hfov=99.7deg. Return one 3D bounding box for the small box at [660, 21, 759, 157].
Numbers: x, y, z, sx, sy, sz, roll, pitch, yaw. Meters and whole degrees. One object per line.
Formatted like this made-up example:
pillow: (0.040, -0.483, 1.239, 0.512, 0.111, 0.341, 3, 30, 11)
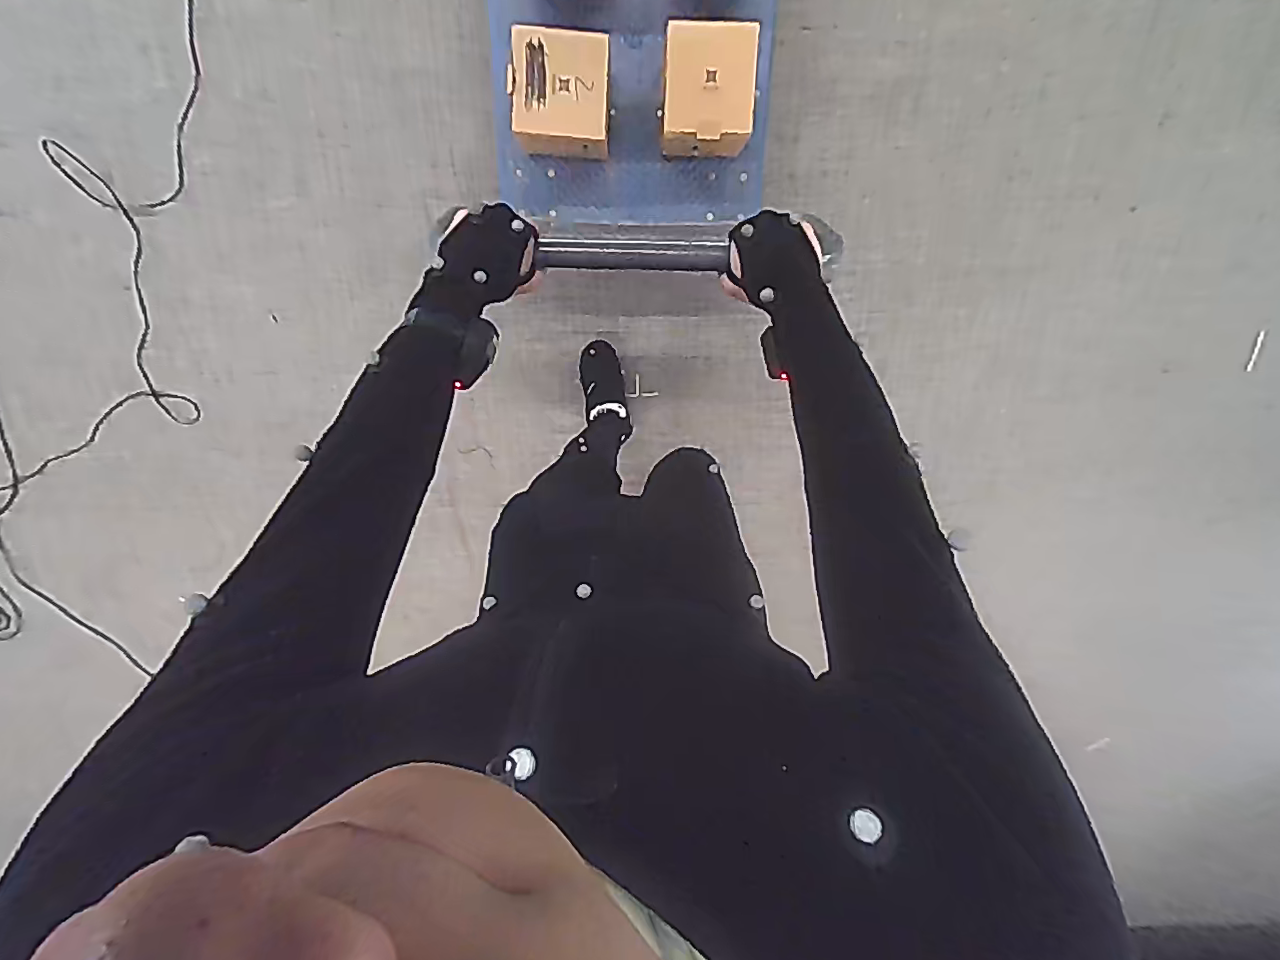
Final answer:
small box: (0.126, -0.757, 1.062, 0.168, 0.176, 0.179, 0, 110, -2)
